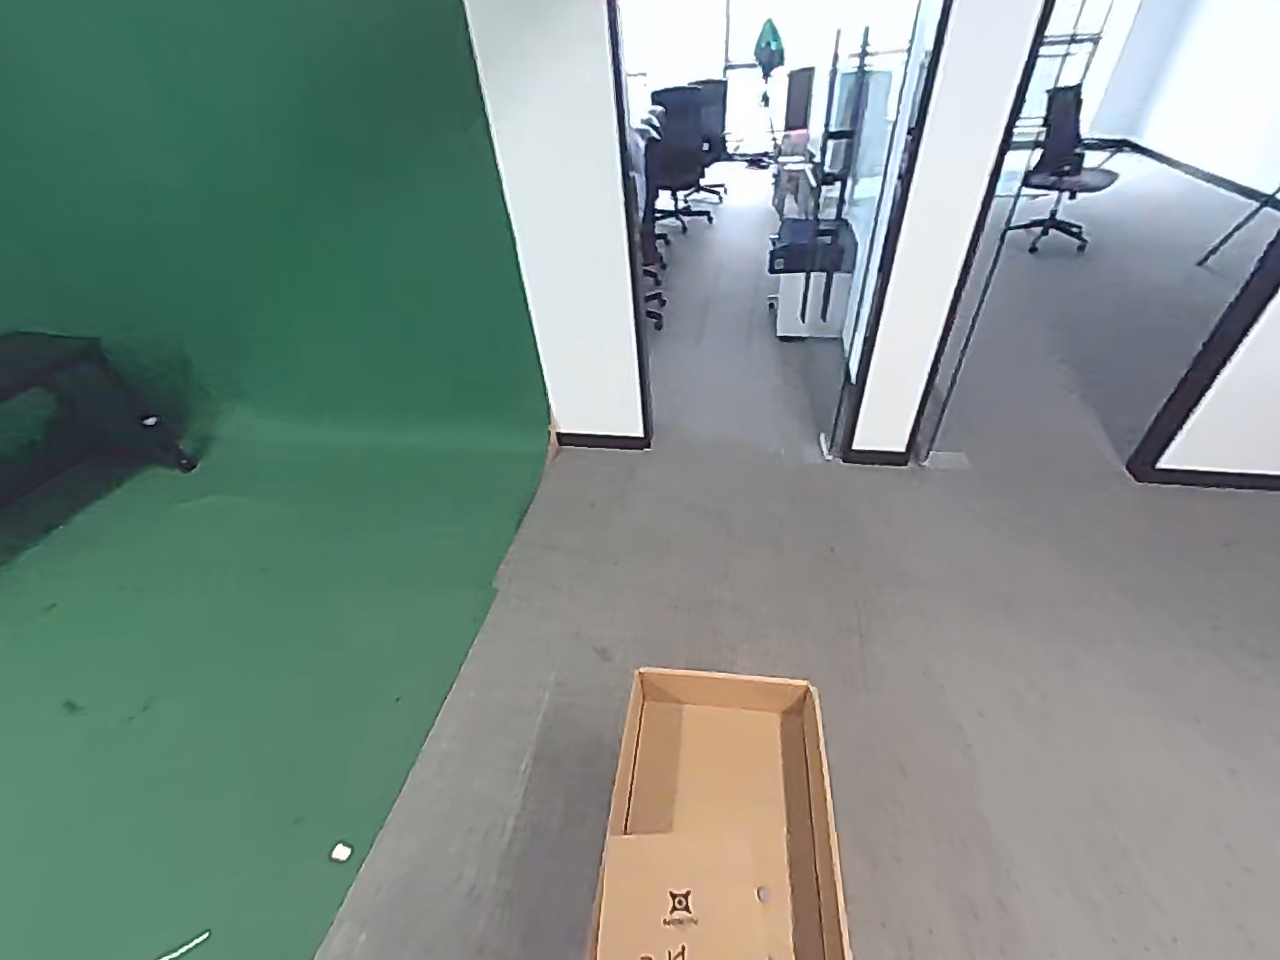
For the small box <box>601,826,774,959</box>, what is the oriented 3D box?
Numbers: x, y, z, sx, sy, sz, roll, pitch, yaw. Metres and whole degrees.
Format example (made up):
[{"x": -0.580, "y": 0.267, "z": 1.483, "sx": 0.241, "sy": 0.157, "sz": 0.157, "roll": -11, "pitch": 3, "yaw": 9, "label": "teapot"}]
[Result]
[{"x": 0.053, "y": 0.511, "z": 0.575, "sx": 0.168, "sy": 0.176, "sz": 0.179, "roll": -5, "pitch": 19, "yaw": 3, "label": "small box"}]
